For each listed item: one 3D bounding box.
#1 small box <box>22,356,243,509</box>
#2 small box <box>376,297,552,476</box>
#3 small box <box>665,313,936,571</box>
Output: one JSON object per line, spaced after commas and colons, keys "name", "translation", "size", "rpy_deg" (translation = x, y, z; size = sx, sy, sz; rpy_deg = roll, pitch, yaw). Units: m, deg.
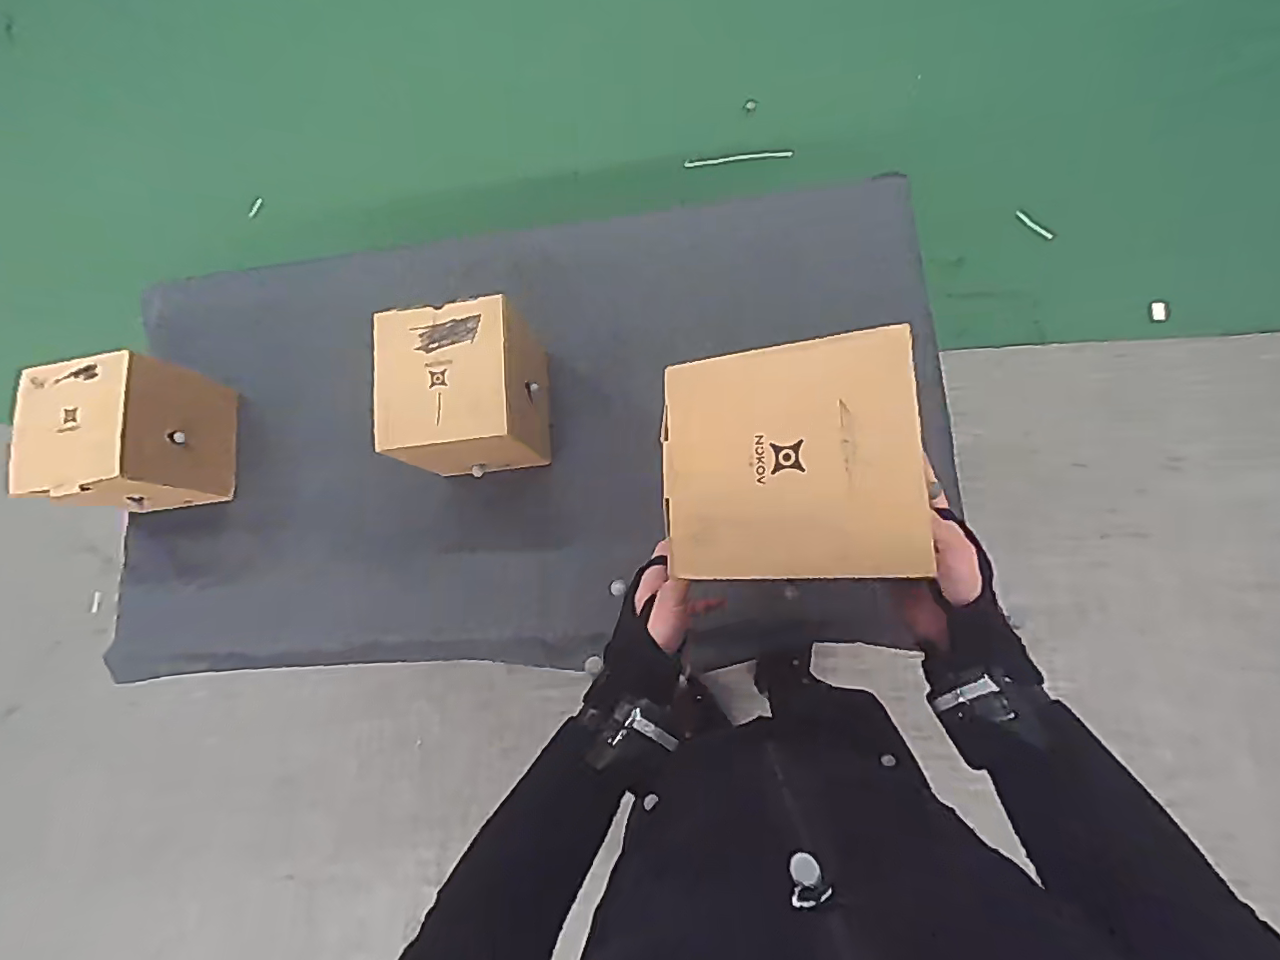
{"name": "small box", "translation": [-0.714, -0.056, 0.779], "size": [0.168, 0.176, 0.179], "rpy_deg": [-8, 79, 7]}
{"name": "small box", "translation": [-0.222, -0.112, 0.713], "size": [0.168, 0.176, 0.179], "rpy_deg": [-6, 80, 8]}
{"name": "small box", "translation": [0.133, -0.010, 0.446], "size": [0.179, 0.176, 0.168], "rpy_deg": [-6, 79, 23]}
